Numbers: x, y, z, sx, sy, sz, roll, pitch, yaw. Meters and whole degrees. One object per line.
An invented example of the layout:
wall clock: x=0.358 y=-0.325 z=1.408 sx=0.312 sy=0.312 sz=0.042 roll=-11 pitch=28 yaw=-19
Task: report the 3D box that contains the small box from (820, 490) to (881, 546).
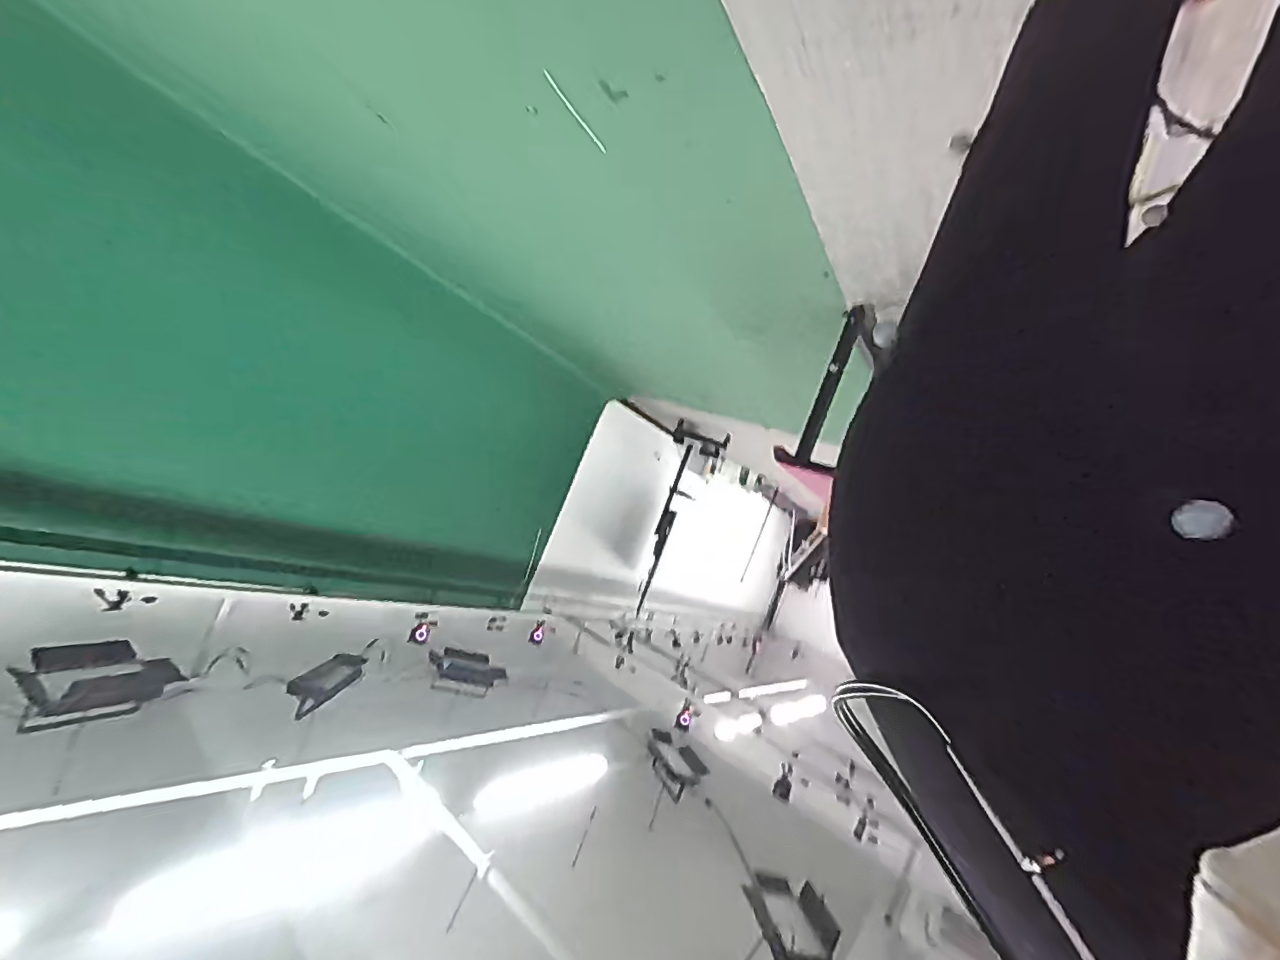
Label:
small box: x=0.858 y=0.153 z=2.193 sx=0.168 sy=0.176 sz=0.179 roll=18 pitch=177 yaw=38
